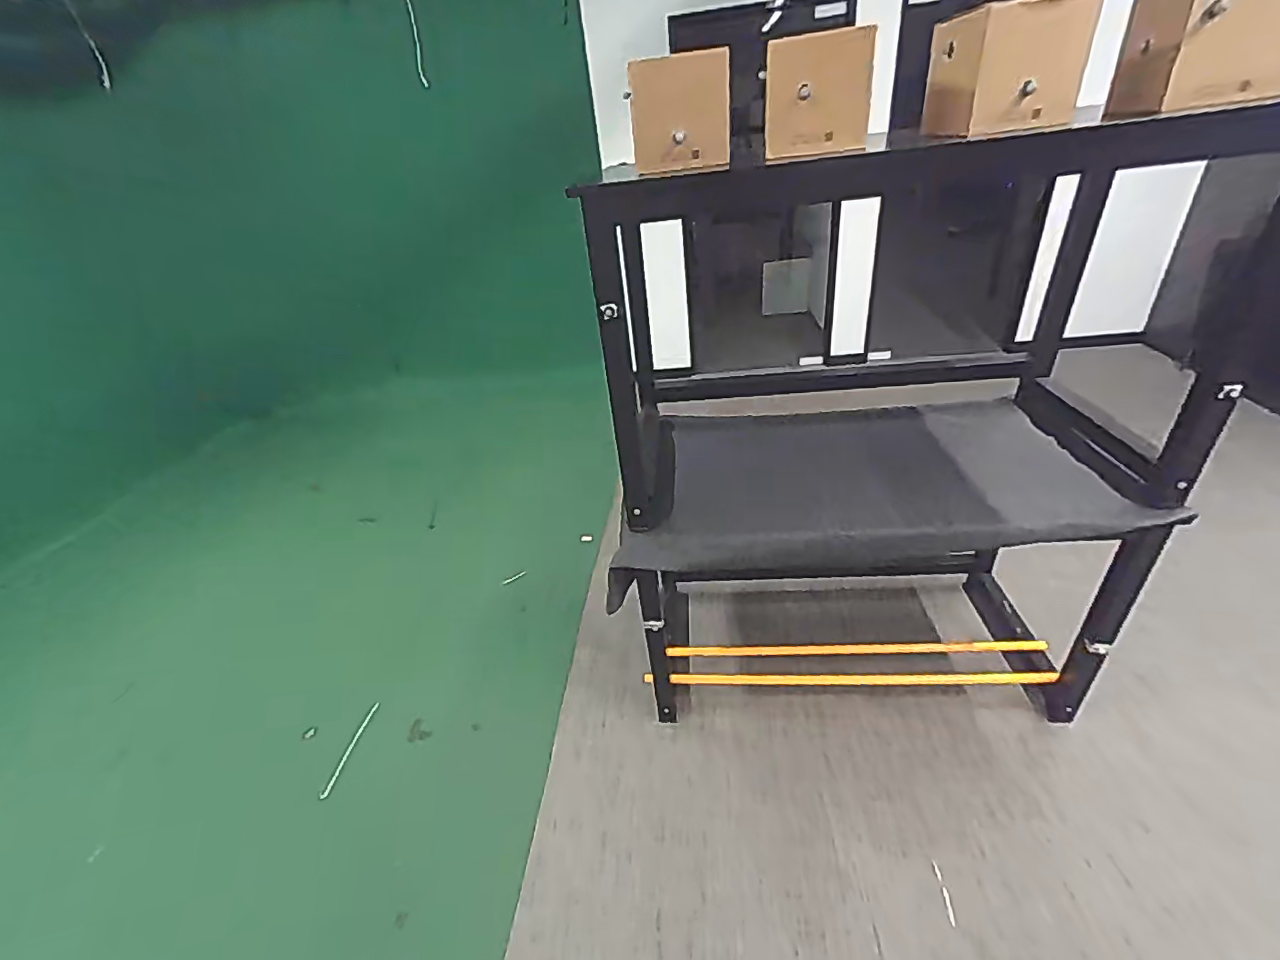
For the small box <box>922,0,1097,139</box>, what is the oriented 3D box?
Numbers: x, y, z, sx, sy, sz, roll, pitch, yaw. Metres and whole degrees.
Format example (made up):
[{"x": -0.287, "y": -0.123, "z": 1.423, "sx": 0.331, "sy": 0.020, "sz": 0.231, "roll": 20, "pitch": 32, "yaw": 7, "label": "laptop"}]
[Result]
[{"x": 0.601, "y": -0.680, "z": 0.909, "sx": 0.168, "sy": 0.176, "sz": 0.179, "roll": -6, "pitch": 32, "yaw": 4, "label": "small box"}]

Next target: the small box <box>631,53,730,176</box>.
[{"x": 0.072, "y": -0.670, "z": 1.005, "sx": 0.168, "sy": 0.176, "sz": 0.179, "roll": -6, "pitch": 32, "yaw": 2, "label": "small box"}]
